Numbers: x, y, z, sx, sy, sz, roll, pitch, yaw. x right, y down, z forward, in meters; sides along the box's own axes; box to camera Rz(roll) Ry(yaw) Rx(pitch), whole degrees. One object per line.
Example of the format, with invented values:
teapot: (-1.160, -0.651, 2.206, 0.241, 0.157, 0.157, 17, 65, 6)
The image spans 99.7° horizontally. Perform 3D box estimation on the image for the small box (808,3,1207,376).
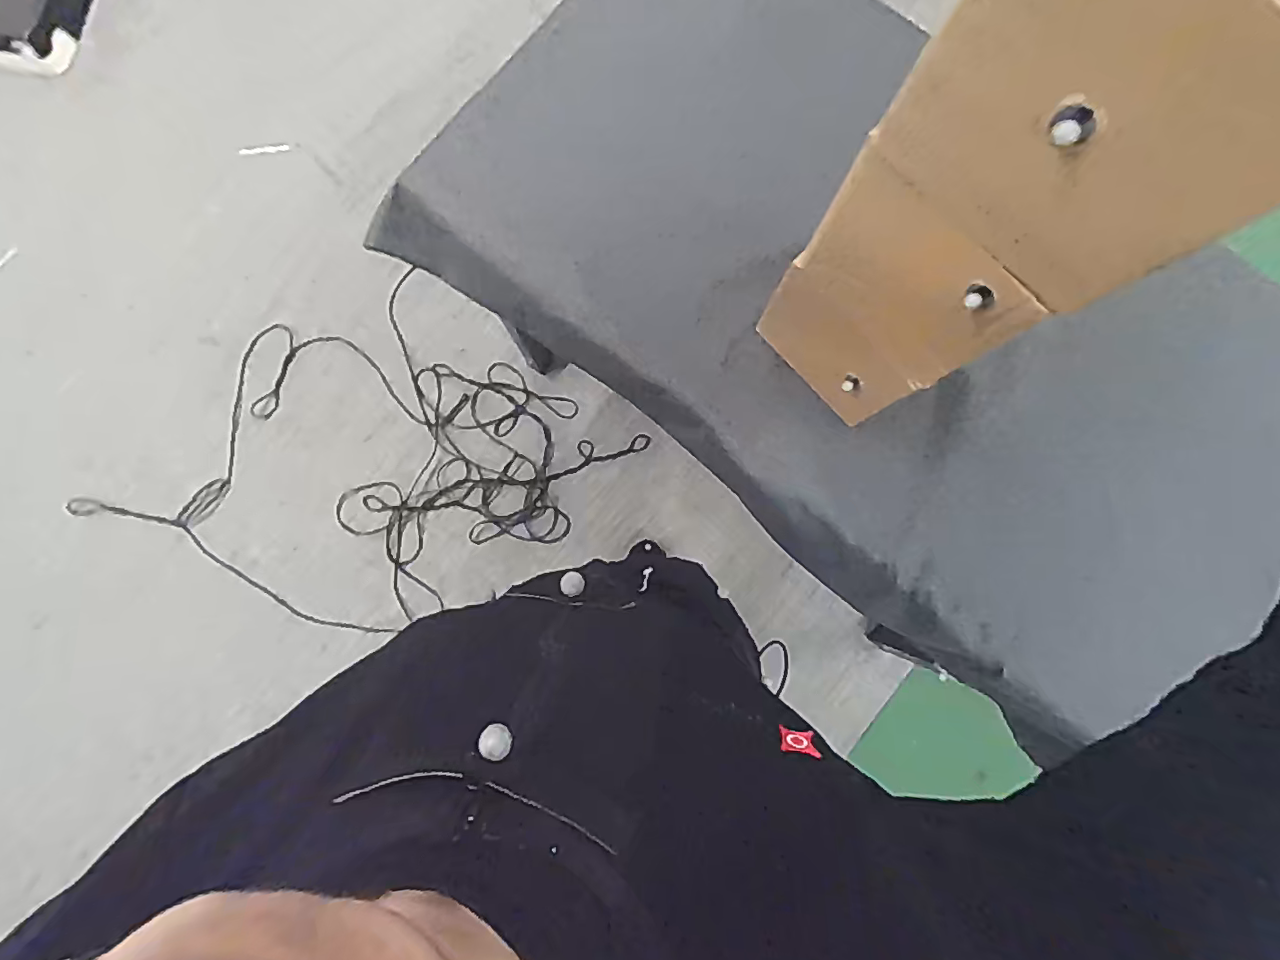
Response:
small box: (0.274, -0.217, 0.451, 0.168, 0.176, 0.179, -43, 86, -6)

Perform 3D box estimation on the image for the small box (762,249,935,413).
small box: (0.268, -0.194, 0.611, 0.168, 0.176, 0.179, -43, 85, -6)
